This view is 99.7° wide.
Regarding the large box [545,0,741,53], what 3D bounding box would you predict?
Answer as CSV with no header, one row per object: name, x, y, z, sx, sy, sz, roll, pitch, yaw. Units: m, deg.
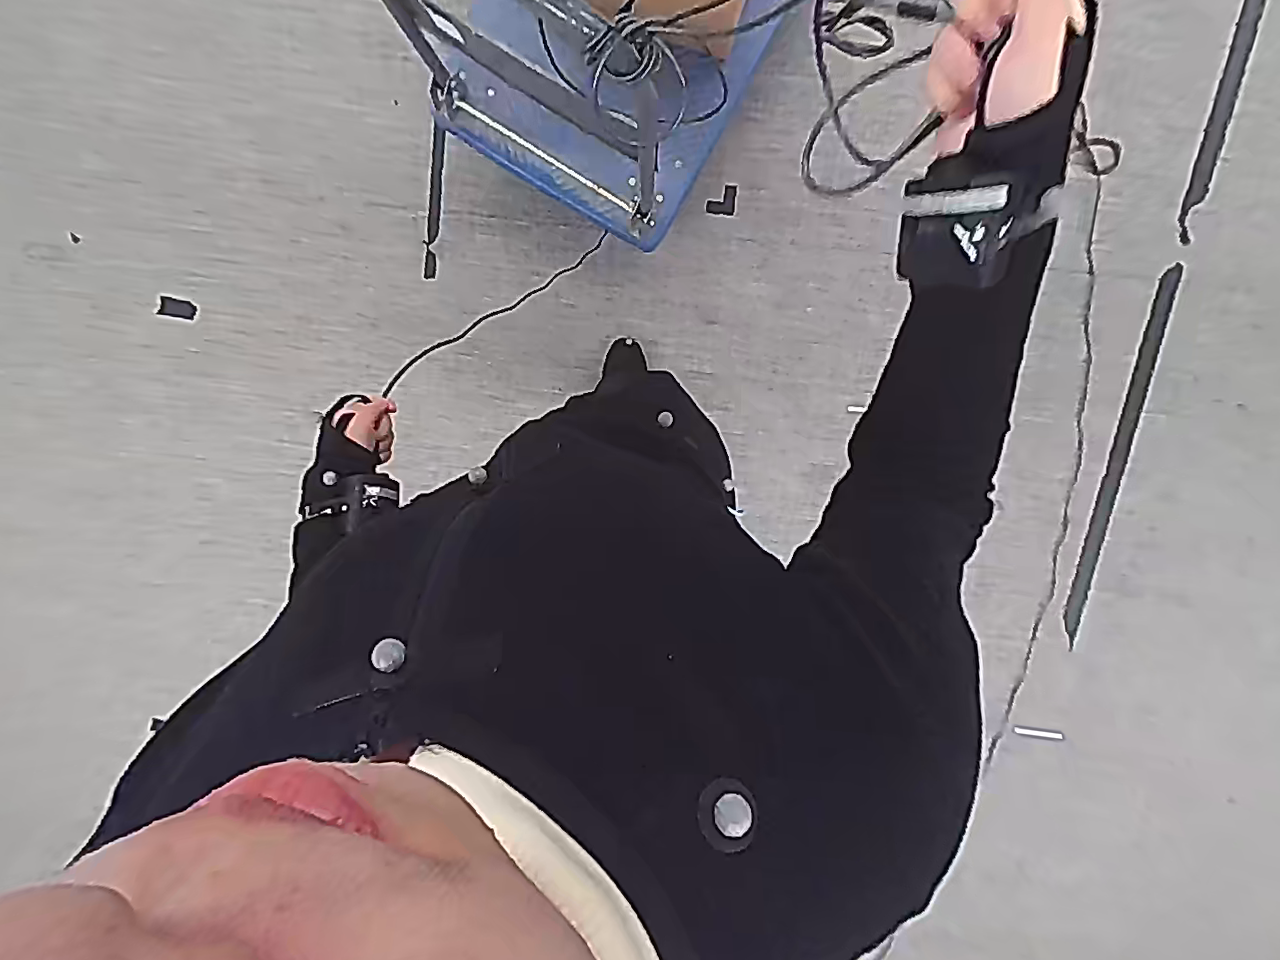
large box,0.023,-1.050,0.946,0.408,0.320,0.320,16,102,-2
